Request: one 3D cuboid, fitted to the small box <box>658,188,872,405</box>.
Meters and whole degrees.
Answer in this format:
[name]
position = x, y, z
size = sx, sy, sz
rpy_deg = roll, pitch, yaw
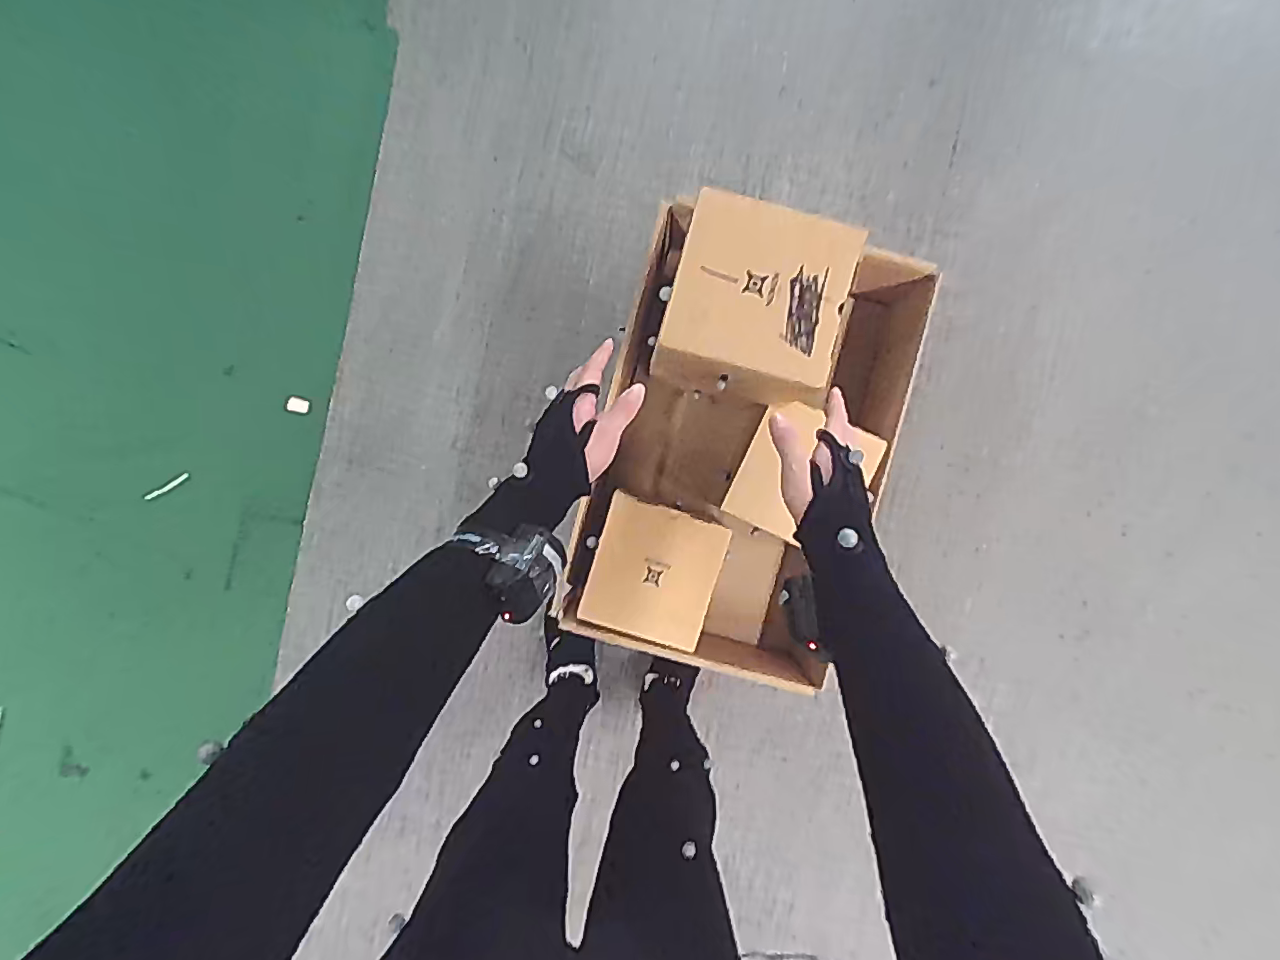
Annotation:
[small box]
position = 0.126, -0.189, 0.614
size = 0.179, 0.176, 0.168
rpy_deg = 16, 91, 0
